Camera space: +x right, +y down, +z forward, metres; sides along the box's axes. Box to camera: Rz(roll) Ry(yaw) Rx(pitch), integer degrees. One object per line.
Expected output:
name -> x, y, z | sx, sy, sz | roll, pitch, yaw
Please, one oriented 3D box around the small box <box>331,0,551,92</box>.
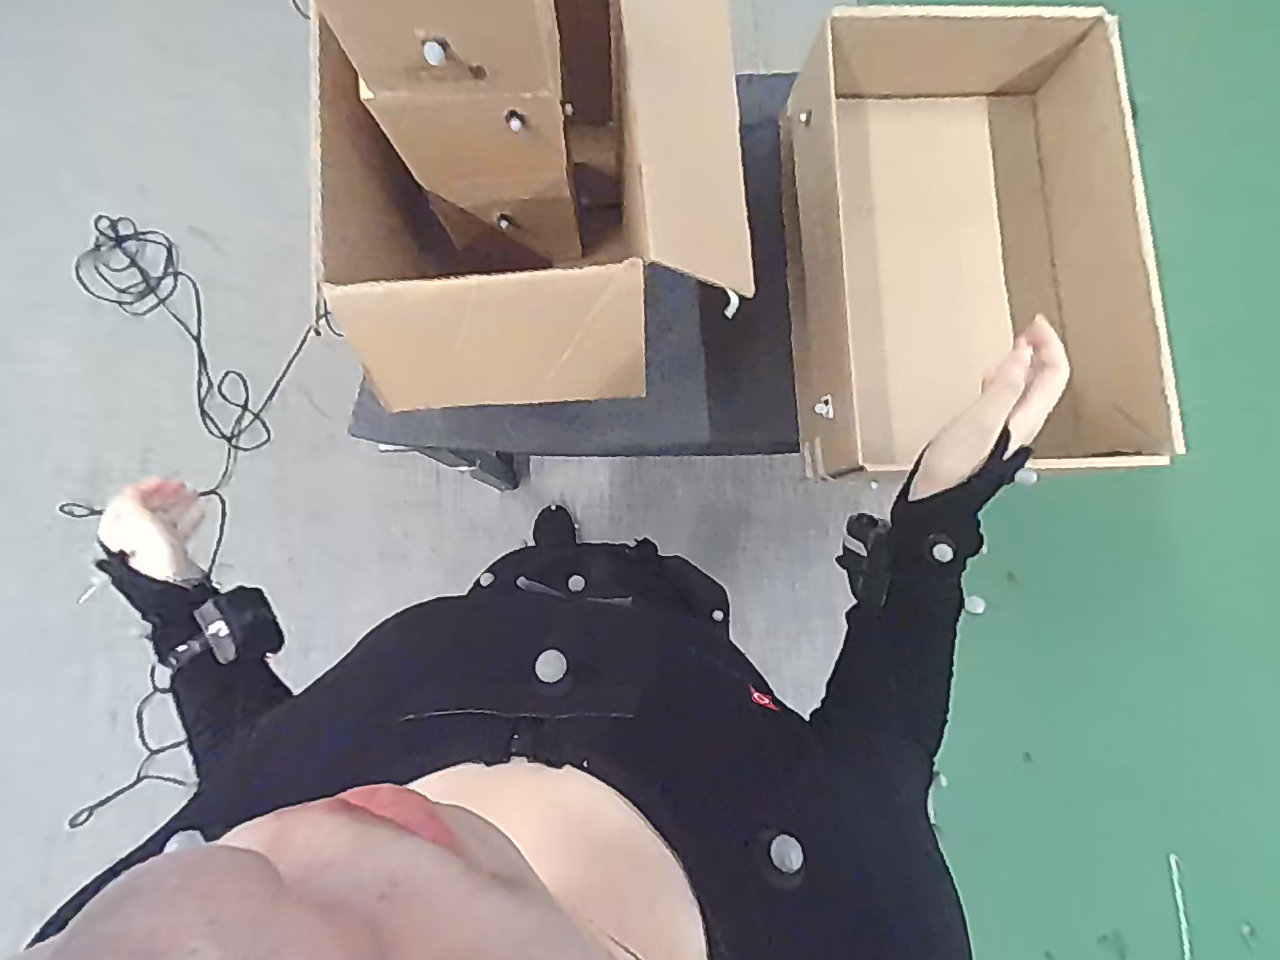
small box -> -0.162, -0.446, 0.417 | 0.168, 0.176, 0.179 | -2, 87, -2
